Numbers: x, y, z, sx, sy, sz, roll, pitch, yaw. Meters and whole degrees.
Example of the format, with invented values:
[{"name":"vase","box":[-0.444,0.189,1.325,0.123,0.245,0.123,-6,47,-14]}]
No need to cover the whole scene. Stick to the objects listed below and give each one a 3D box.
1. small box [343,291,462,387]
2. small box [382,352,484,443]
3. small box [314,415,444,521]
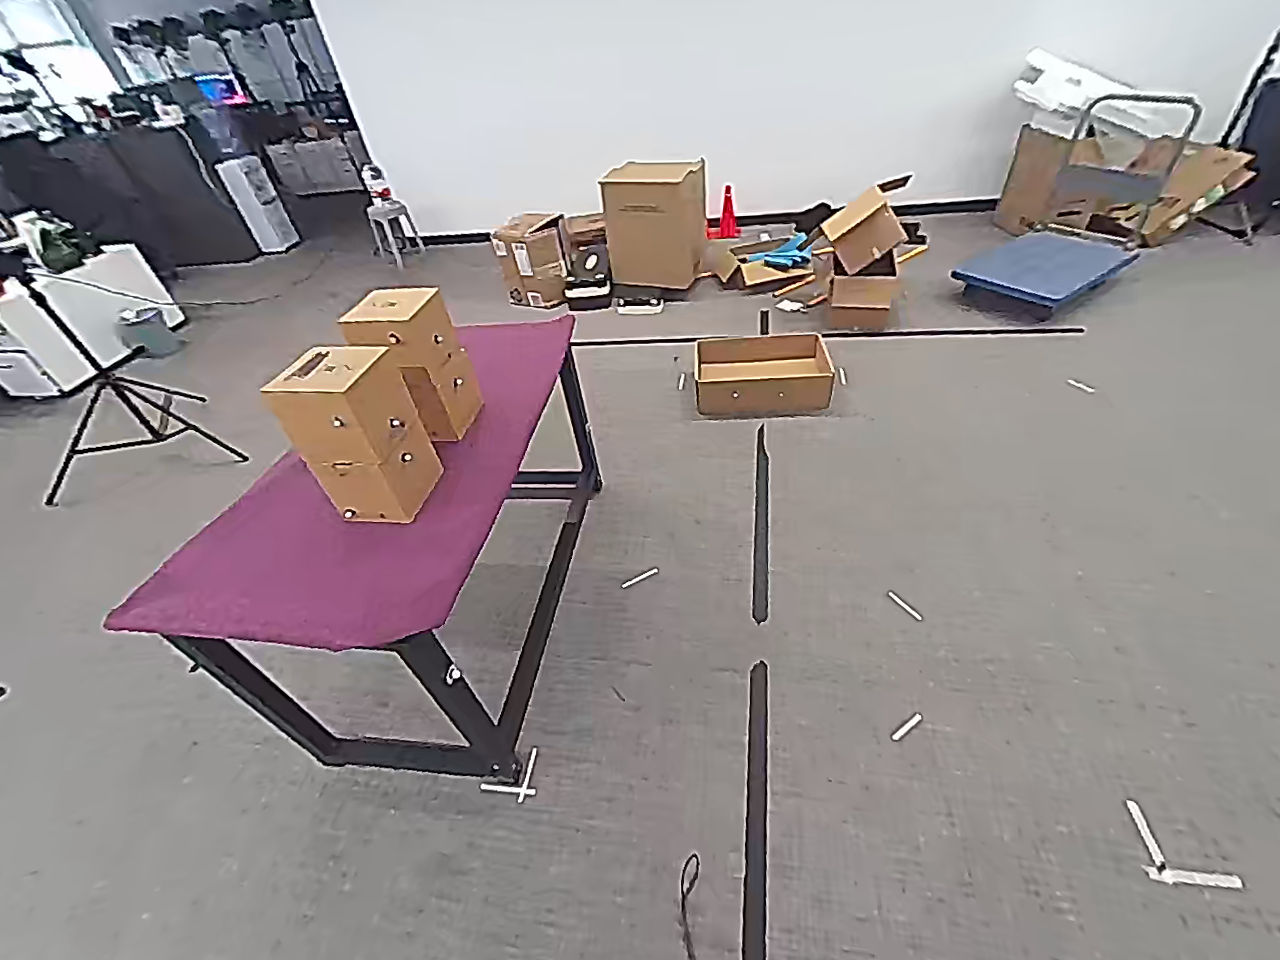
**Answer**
[{"name":"small box","box":[-0.551,-0.333,1.287,0.179,0.176,0.168,2,43,12]},{"name":"small box","box":[-0.523,-0.215,1.400,0.168,0.176,0.179,2,43,11]},{"name":"small box","box":[-0.560,-0.025,1.190,0.168,0.176,0.179,2,42,11]}]
